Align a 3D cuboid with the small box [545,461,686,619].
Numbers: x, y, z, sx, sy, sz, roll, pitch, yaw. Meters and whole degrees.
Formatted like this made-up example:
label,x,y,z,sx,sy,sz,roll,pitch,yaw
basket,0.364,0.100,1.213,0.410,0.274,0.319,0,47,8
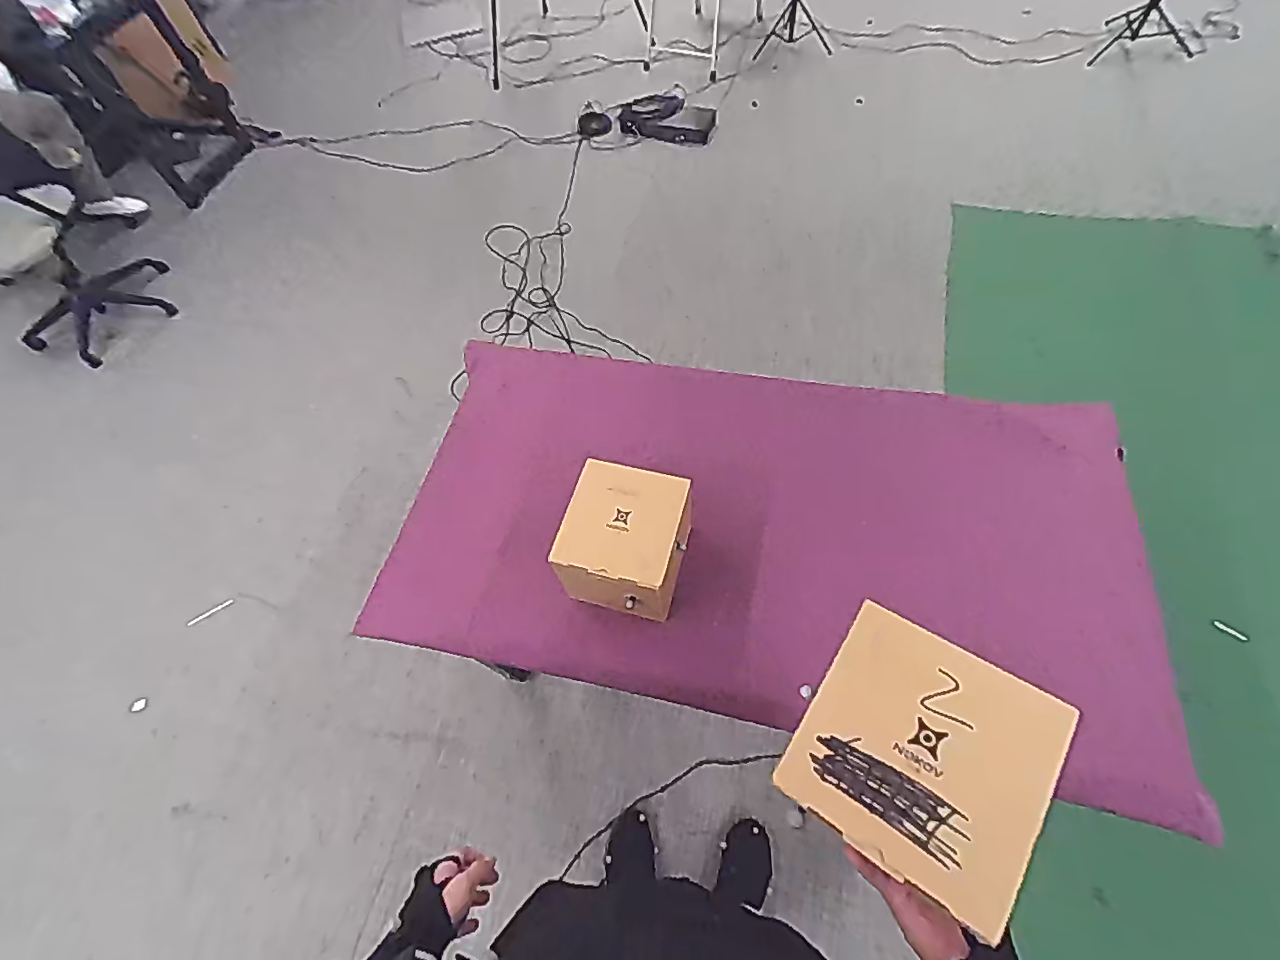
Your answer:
label,x,y,z,sx,sy,sz,roll,pitch,yaw
small box,-0.026,0.100,0.849,0.168,0.176,0.179,13,62,11
